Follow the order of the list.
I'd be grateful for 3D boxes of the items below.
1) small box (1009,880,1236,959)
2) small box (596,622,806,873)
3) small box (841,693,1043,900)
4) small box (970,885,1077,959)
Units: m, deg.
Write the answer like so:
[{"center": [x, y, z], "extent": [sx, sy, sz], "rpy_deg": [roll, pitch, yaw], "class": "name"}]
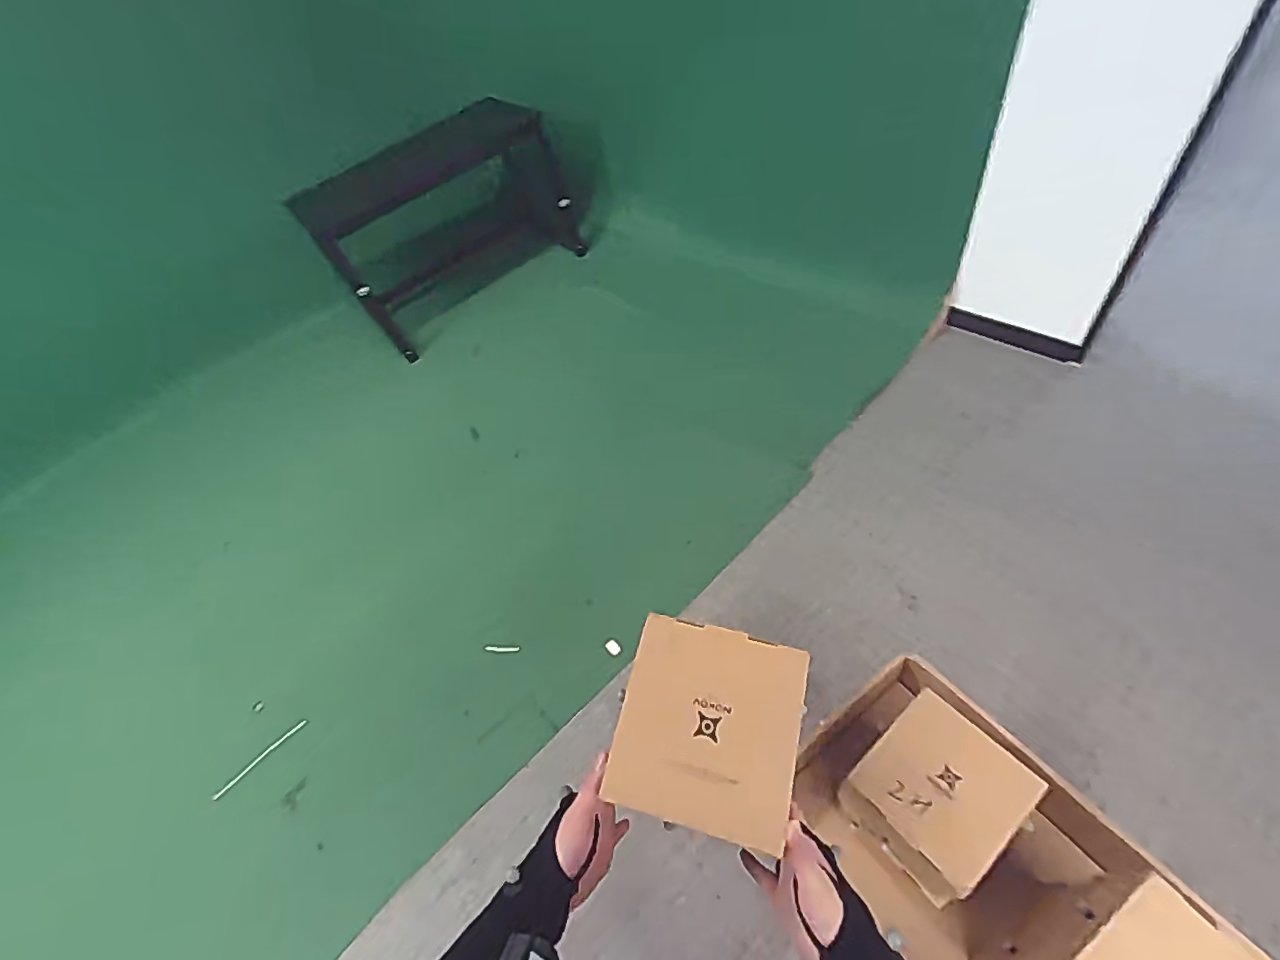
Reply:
[{"center": [0.561, 0.588, 0.607], "extent": [0.179, 0.176, 0.168], "rpy_deg": [-34, 53, -11], "class": "small box"}, {"center": [0.065, 0.271, 0.570], "extent": [0.168, 0.176, 0.179], "rpy_deg": [12, 65, 11], "class": "small box"}, {"center": [0.402, 0.439, 0.756], "extent": [0.179, 0.176, 0.168], "rpy_deg": [-38, 54, -14], "class": "small box"}, {"center": [0.589, 0.689, 0.734], "extent": [0.179, 0.176, 0.168], "rpy_deg": [-37, 54, -12], "class": "small box"}]
